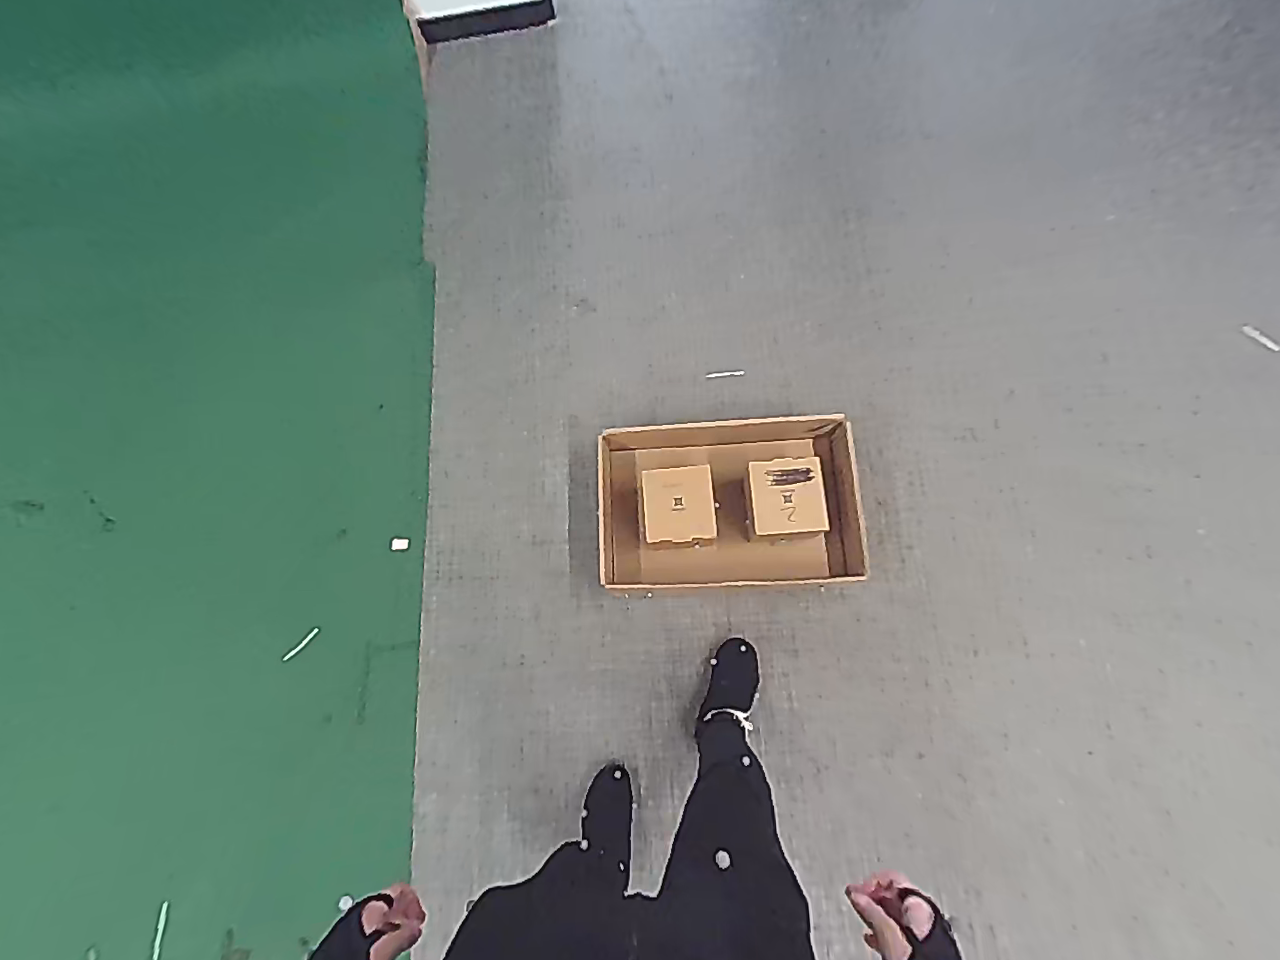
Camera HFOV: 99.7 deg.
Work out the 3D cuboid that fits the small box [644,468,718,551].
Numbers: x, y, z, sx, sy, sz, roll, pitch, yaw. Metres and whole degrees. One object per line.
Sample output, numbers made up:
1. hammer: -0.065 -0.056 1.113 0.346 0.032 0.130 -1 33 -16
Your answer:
1. small box: 0.101 0.080 1.339 0.168 0.176 0.179 -4 75 3
